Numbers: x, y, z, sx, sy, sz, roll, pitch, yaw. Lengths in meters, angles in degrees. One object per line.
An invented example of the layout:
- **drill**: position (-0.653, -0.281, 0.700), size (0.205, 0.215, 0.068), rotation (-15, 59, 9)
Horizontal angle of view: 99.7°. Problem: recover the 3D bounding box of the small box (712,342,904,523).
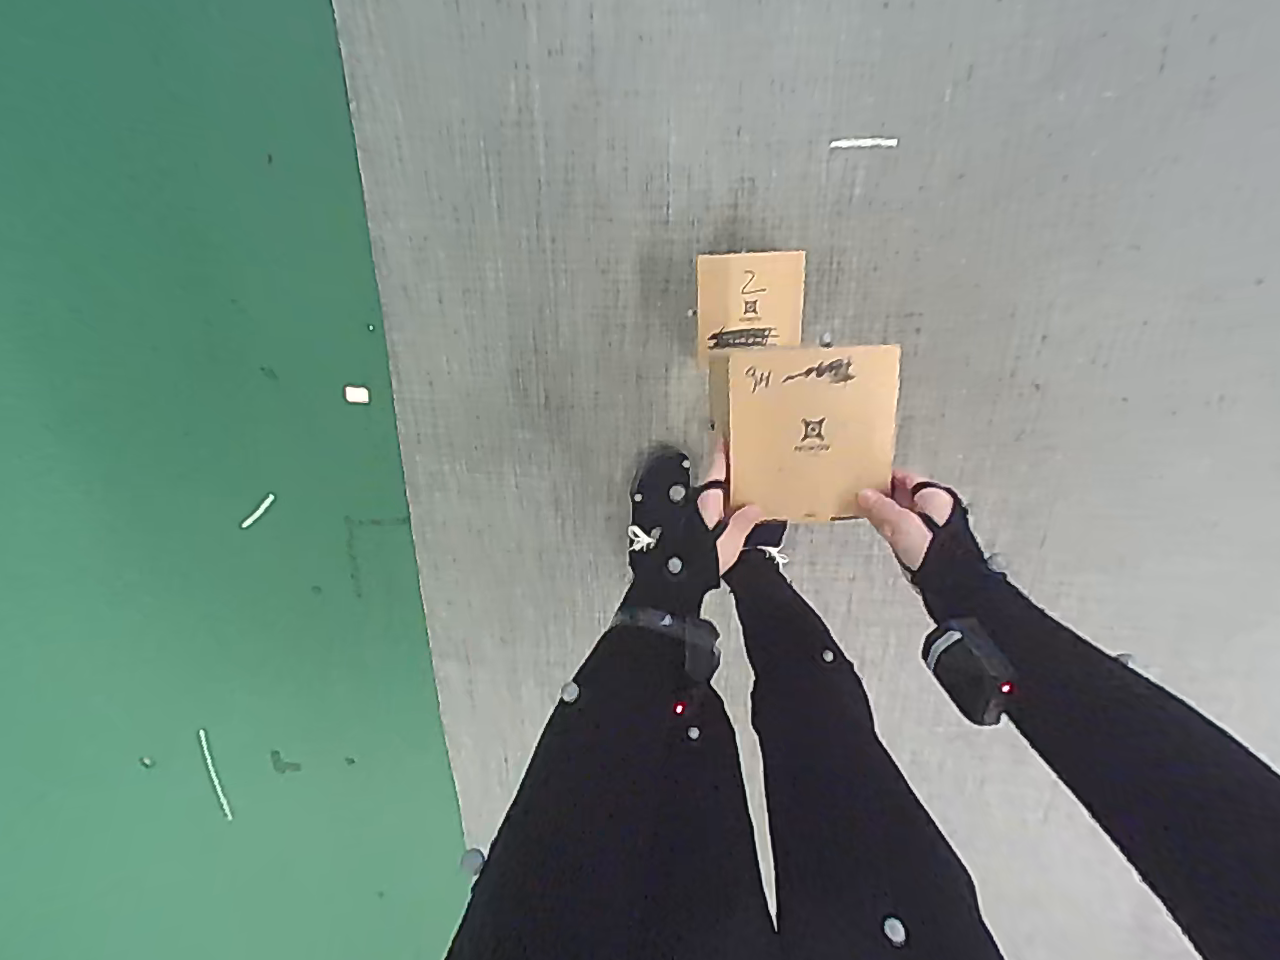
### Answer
- **small box**: position (0.176, -0.063, 0.617), size (0.168, 0.176, 0.179), rotation (-3, 105, 1)
